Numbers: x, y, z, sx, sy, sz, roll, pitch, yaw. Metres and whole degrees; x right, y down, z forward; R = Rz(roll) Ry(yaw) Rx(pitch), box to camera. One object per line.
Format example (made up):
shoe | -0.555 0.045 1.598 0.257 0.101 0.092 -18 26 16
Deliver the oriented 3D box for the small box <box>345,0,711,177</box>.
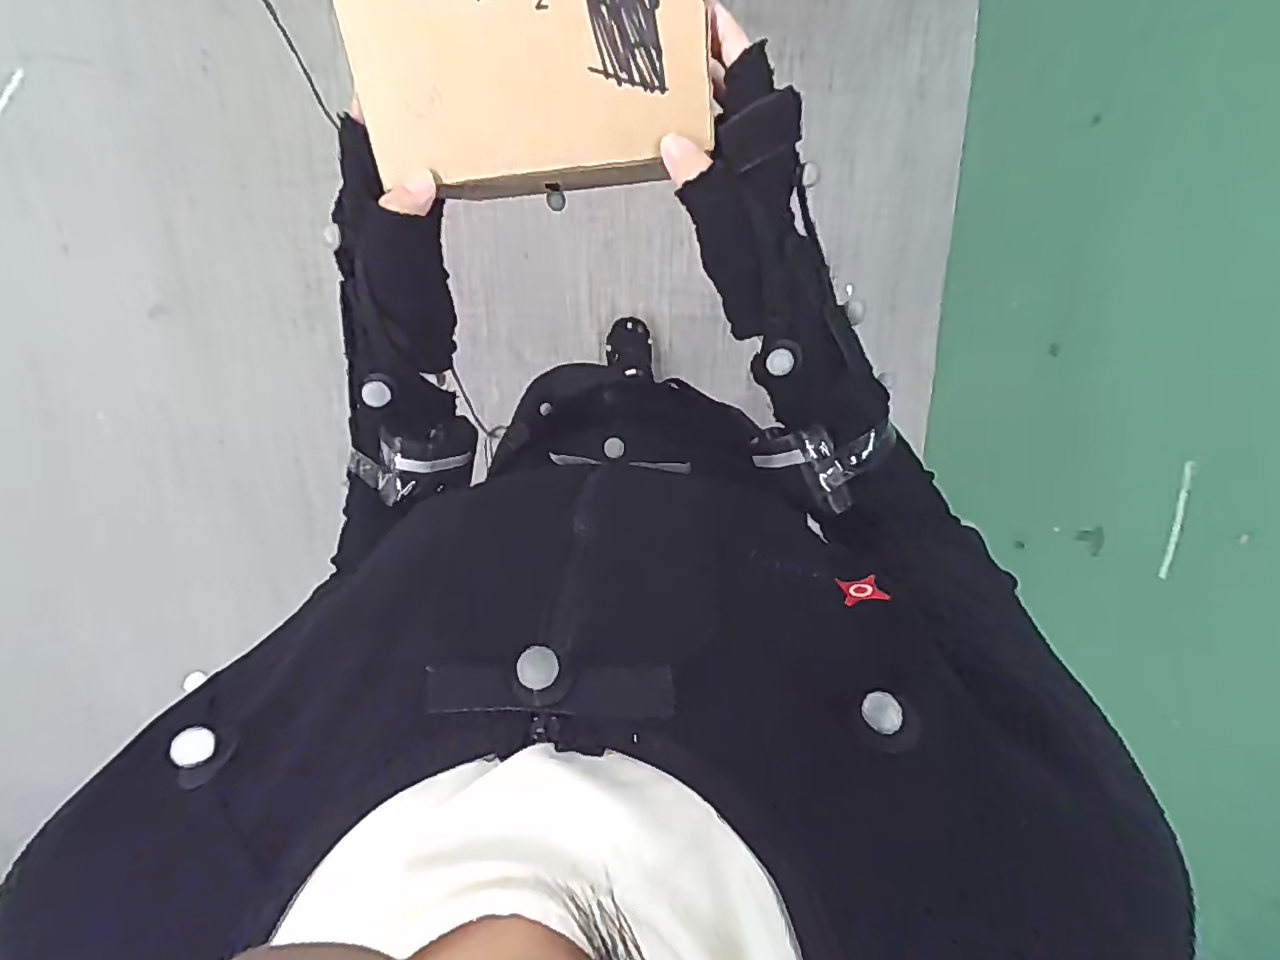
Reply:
small box | -0.055 -0.284 0.320 0.179 0.176 0.168 -4 116 4

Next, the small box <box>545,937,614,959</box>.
small box | -0.152 1.285 1.347 0.179 0.176 0.168 -4 101 4
